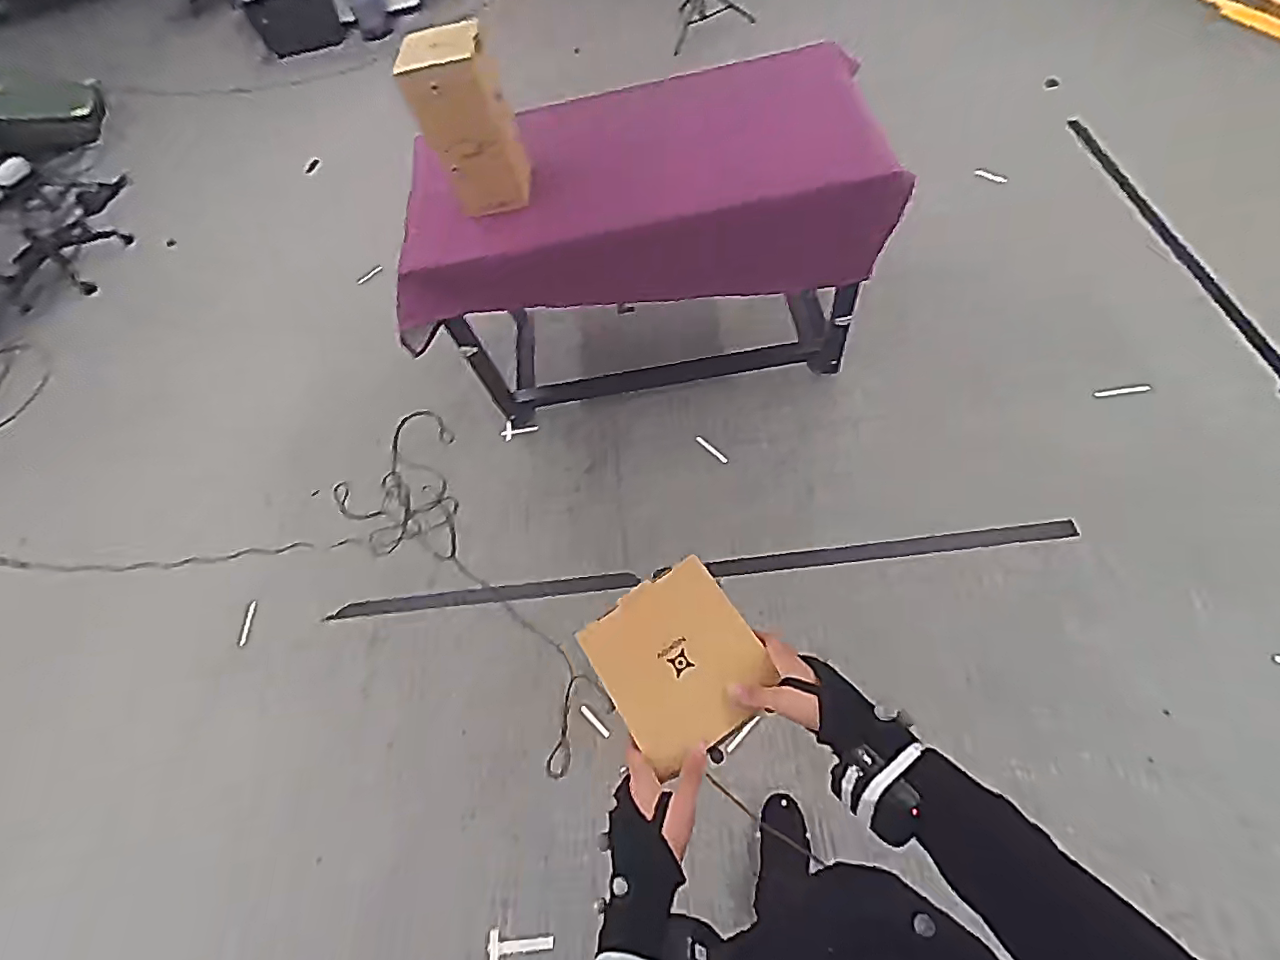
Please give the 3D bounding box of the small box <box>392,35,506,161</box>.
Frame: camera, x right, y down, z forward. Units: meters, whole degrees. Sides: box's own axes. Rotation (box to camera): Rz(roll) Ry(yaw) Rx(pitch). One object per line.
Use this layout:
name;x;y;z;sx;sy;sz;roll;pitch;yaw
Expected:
small box;-0.423;-0.853;1.221;0.179;0.176;0.168;-6;61;6

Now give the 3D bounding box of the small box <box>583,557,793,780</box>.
small box;0.060;0.227;0.648;0.168;0.176;0.179;-33;61;-8
